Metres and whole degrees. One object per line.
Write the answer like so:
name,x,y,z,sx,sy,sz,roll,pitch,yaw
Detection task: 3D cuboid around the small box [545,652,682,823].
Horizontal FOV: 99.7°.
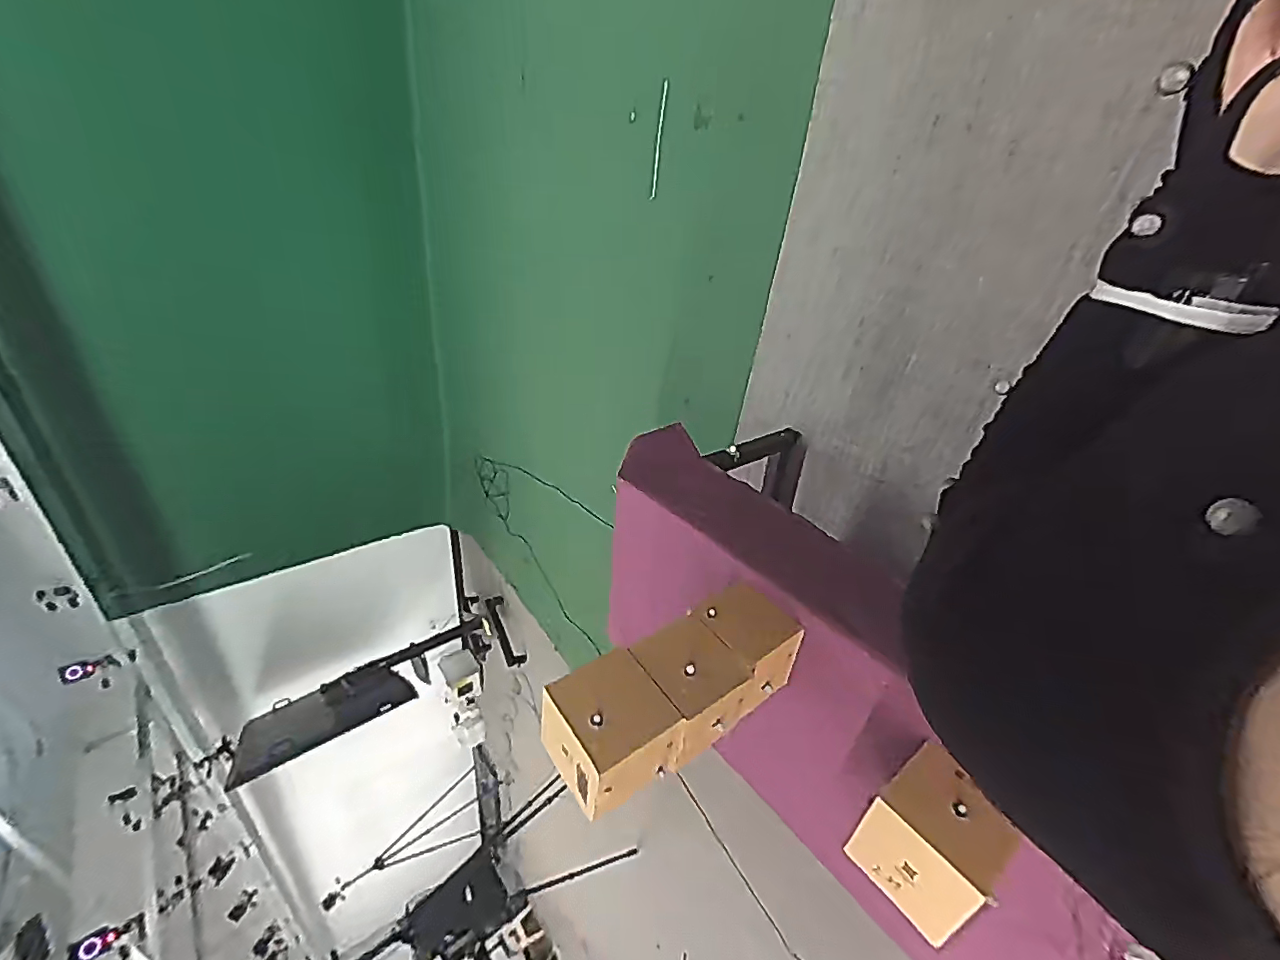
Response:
small box,-0.049,0.435,0.937,0.179,0.176,0.168,42,136,39

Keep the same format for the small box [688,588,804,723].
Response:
small box,0.210,0.352,1.122,0.179,0.176,0.168,37,133,40

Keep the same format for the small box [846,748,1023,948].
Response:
small box,0.468,0.571,0.860,0.168,0.176,0.179,38,134,40

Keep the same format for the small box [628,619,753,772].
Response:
small box,0.086,0.398,1.025,0.179,0.176,0.168,40,134,37
